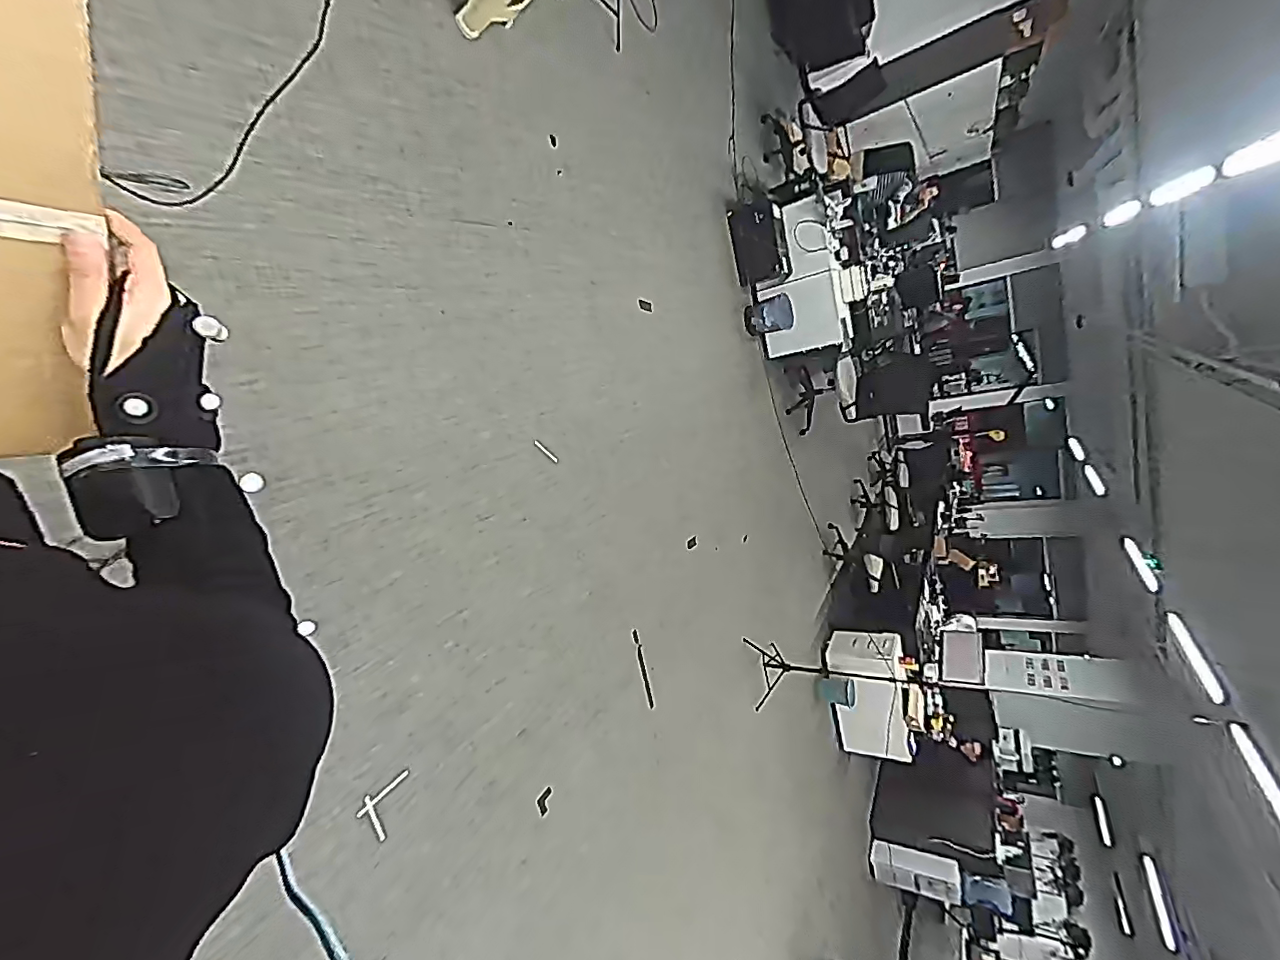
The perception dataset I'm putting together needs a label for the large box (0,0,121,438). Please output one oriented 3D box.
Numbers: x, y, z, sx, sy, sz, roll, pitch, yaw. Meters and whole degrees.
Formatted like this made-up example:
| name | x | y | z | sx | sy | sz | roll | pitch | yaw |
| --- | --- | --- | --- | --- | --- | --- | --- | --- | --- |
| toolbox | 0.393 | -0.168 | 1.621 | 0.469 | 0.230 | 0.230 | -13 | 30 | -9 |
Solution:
| name | x | y | z | sx | sy | sz | roll | pitch | yaw |
| --- | --- | --- | --- | --- | --- | --- | --- | --- | --- |
| large box | -0.596 | -0.202 | 0.274 | 0.408 | 0.320 | 0.320 | -17 | 131 | -55 |
